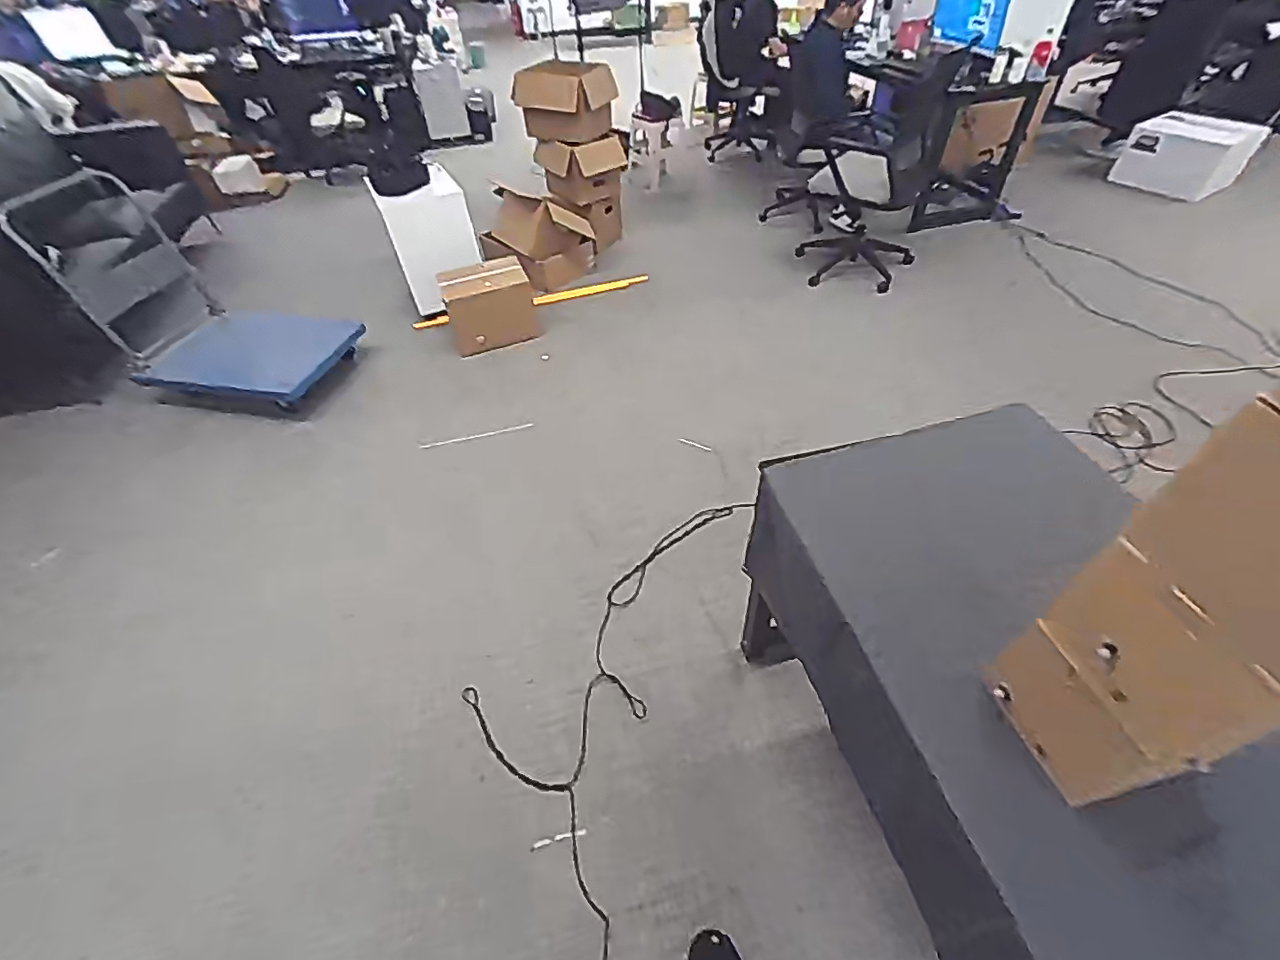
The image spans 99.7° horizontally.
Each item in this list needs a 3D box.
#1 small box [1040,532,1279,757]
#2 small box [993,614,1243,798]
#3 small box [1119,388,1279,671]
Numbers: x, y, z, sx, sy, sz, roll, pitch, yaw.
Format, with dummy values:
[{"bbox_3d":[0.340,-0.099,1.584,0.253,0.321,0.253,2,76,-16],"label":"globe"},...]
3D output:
[{"bbox_3d":[0.561,0.148,0.537,0.179,0.176,0.168,-12,47,-7],"label":"small box"},{"bbox_3d":[0.570,0.259,0.655,0.179,0.176,0.168,-12,47,-8],"label":"small box"},{"bbox_3d":[0.548,0.037,0.416,0.168,0.176,0.179,-11,47,-6],"label":"small box"}]
